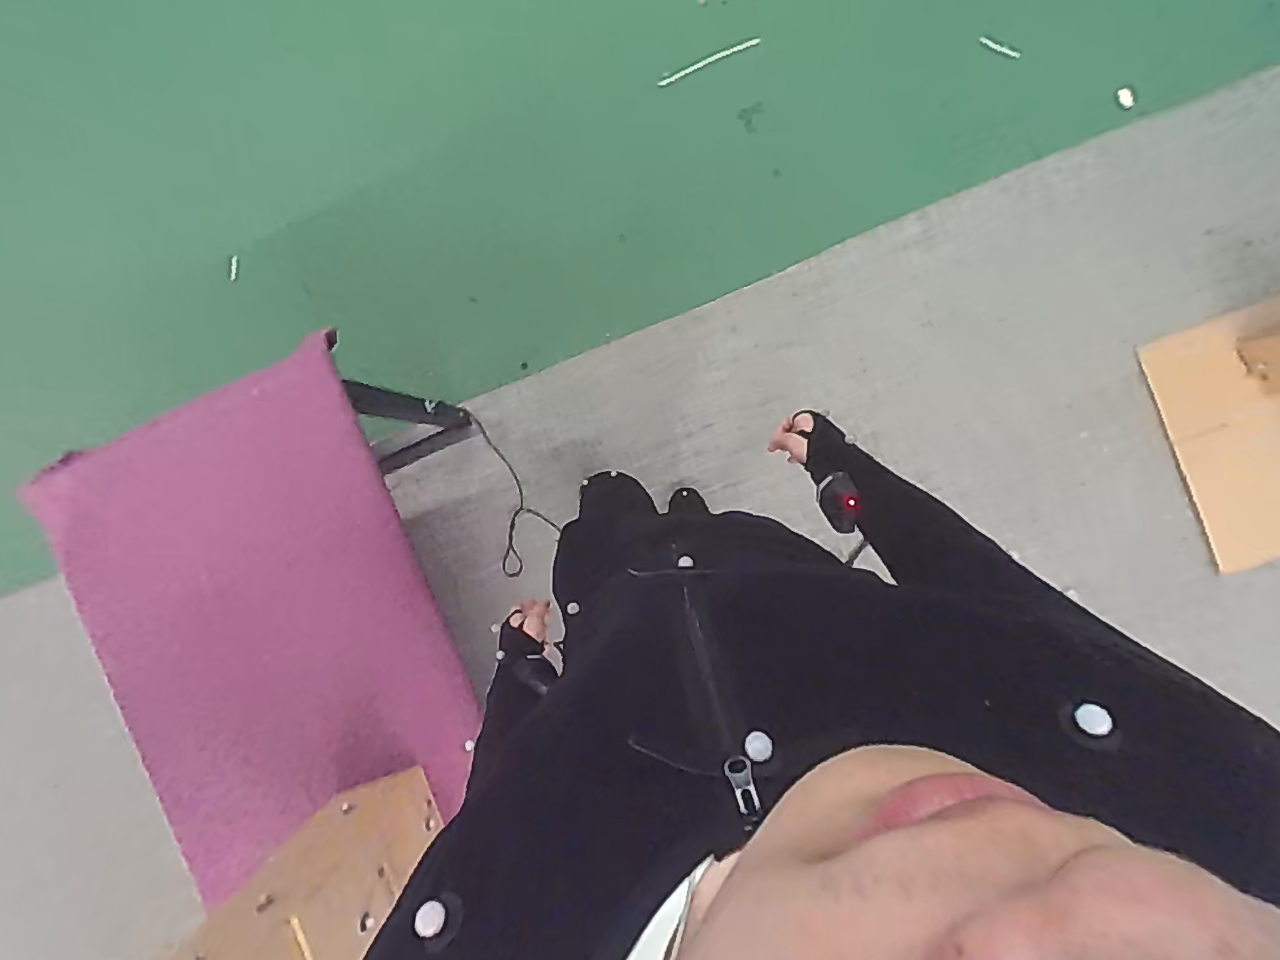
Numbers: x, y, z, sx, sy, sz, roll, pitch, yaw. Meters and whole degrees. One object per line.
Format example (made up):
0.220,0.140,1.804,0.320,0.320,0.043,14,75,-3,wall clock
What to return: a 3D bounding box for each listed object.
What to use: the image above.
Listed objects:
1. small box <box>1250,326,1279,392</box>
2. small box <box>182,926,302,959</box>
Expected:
1.762,-0.344,1.385,0.179,0.176,0.168,-28,89,5,small box
-0.467,0.622,0.556,0.179,0.176,0.168,-23,90,5,small box
